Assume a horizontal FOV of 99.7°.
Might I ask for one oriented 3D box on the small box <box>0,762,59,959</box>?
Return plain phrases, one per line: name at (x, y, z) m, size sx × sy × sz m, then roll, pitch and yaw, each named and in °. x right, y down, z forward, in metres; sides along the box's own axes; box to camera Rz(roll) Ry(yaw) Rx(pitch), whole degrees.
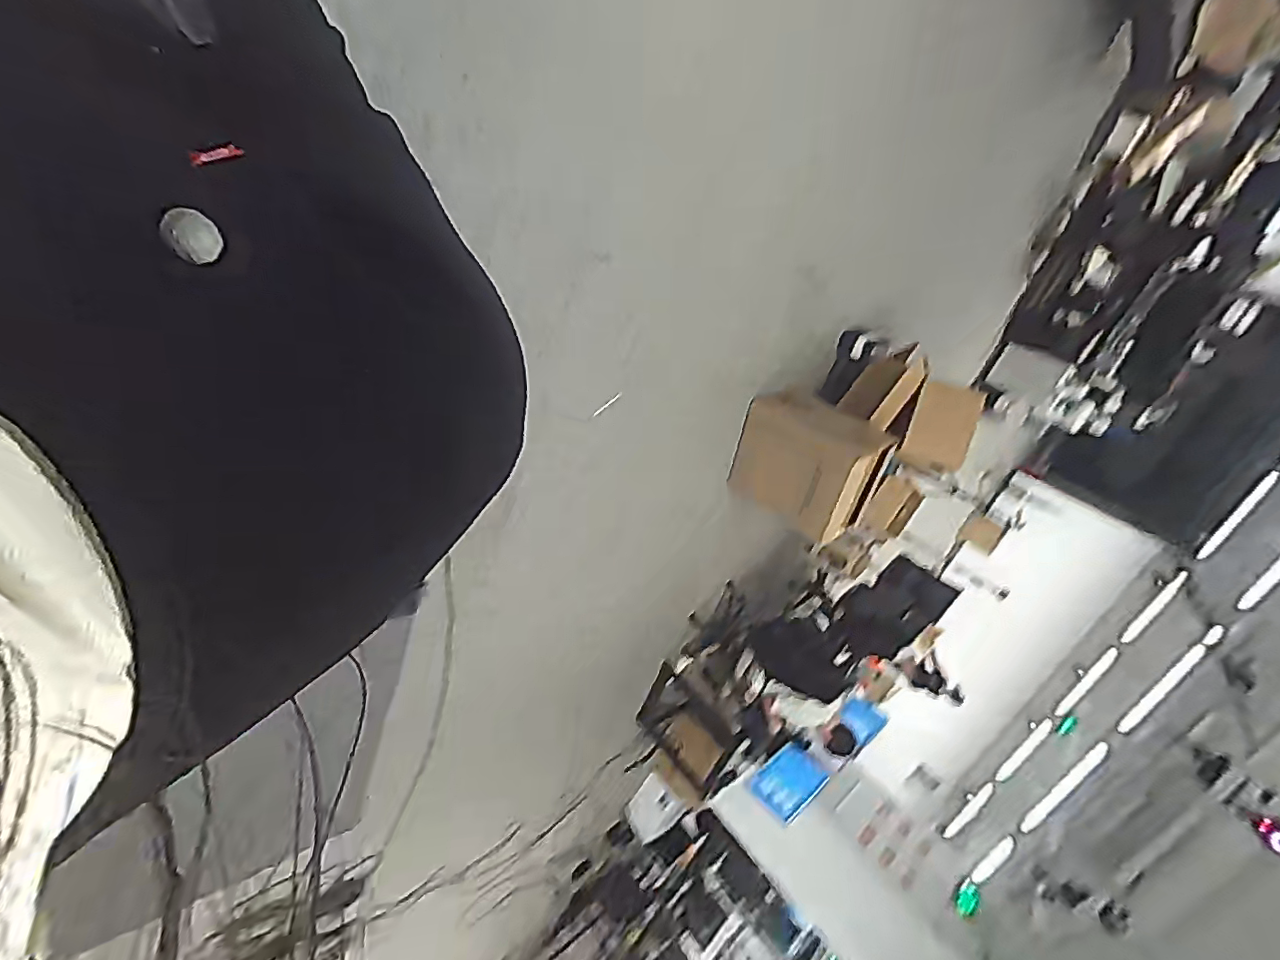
small box at (-0.780, 0.461, 0.600) m, size 0.179 × 0.176 × 0.168 m, roll -5°, pitch 126°, yaw -48°
